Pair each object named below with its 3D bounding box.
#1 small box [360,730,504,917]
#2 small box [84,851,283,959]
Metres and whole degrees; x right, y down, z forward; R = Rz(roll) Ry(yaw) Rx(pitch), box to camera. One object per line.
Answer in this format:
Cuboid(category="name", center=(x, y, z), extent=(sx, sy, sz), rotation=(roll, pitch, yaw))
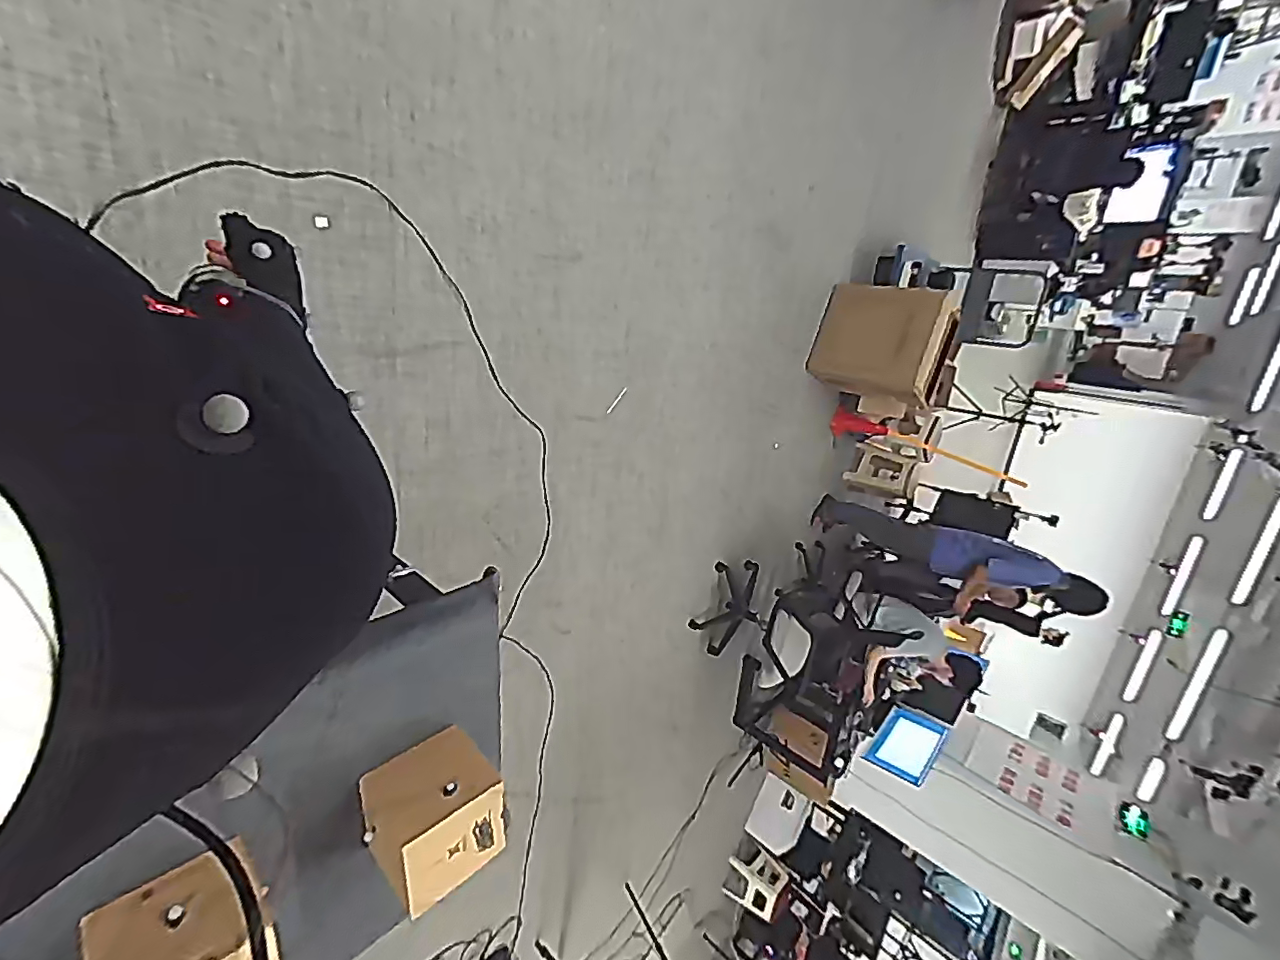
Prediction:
Cuboid(category="small box", center=(-0.356, 0.576, 0.935), extent=(0.179, 0.176, 0.168), rotation=(-17, 118, -44))
Cuboid(category="small box", center=(-0.579, 0.627, 0.696), extent=(0.168, 0.176, 0.179), rotation=(-14, 116, -46))
